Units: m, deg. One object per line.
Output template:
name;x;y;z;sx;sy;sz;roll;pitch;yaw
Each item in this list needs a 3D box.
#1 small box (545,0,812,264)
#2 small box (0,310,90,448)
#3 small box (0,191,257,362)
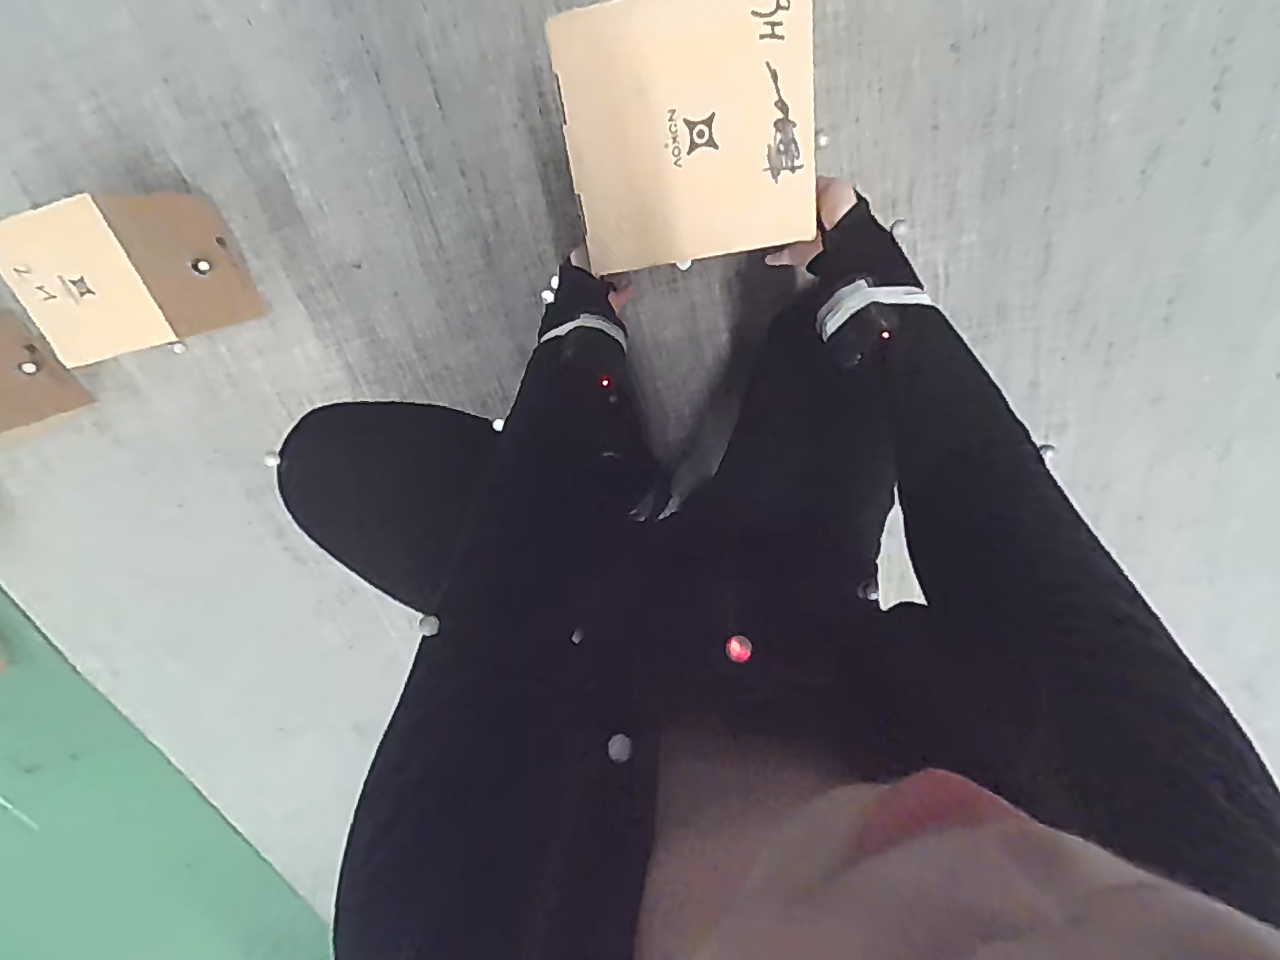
small box;0.040;-0.287;0.455;0.179;0.176;0.168;-6;117;9
small box;-1.013;-0.135;0.814;0.179;0.176;0.168;-22;113;15
small box;-0.654;-0.271;0.711;0.179;0.176;0.168;-10;115;10
